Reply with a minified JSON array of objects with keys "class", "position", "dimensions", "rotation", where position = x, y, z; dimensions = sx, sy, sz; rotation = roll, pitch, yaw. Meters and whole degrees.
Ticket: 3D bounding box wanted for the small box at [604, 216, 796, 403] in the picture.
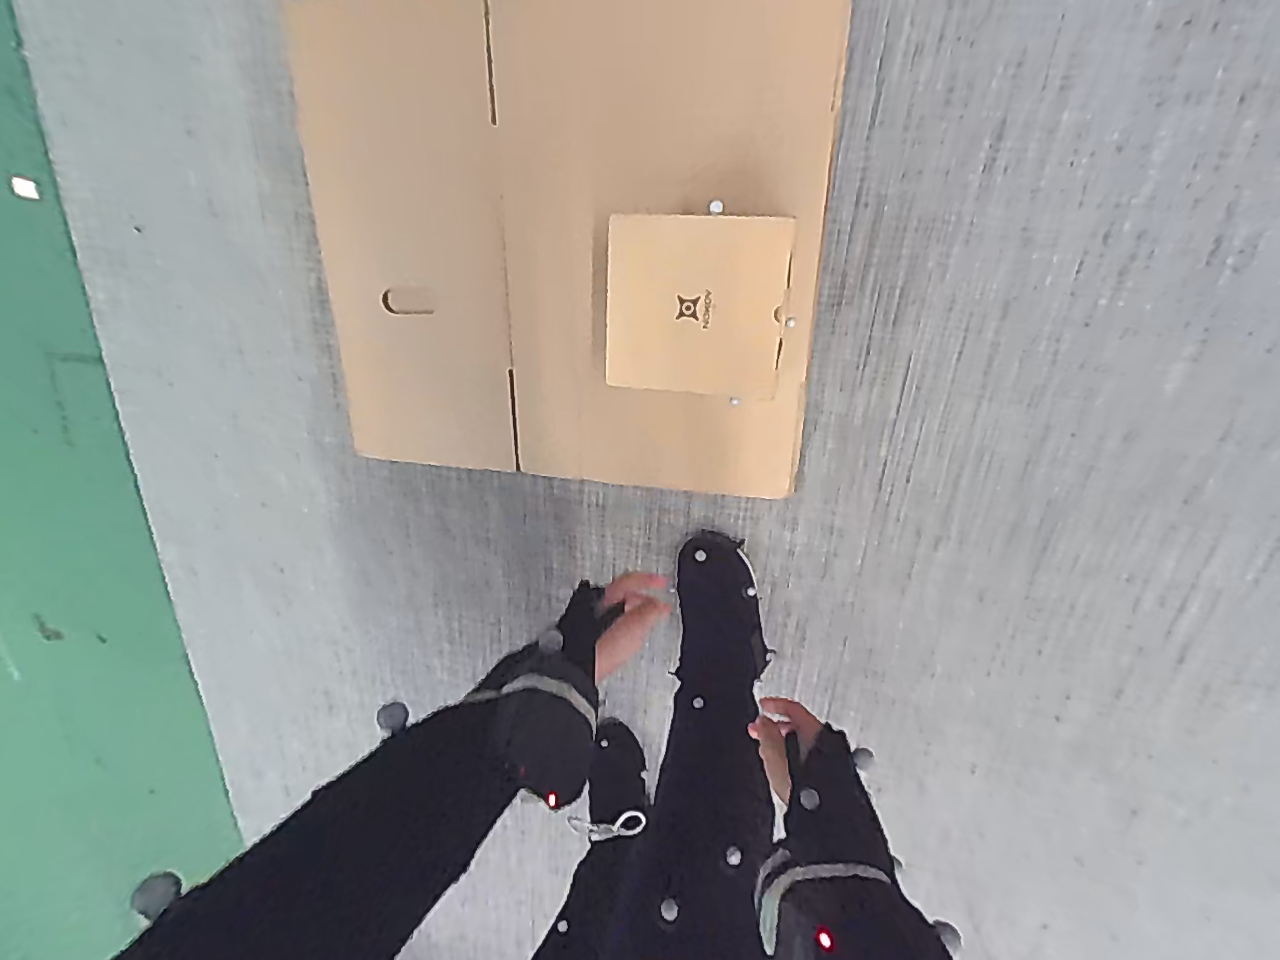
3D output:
[{"class":"small box","position":[0.071,-0.187,0.596],"dimensions":[0.179,0.176,0.168],"rotation":[7,110,13]}]
